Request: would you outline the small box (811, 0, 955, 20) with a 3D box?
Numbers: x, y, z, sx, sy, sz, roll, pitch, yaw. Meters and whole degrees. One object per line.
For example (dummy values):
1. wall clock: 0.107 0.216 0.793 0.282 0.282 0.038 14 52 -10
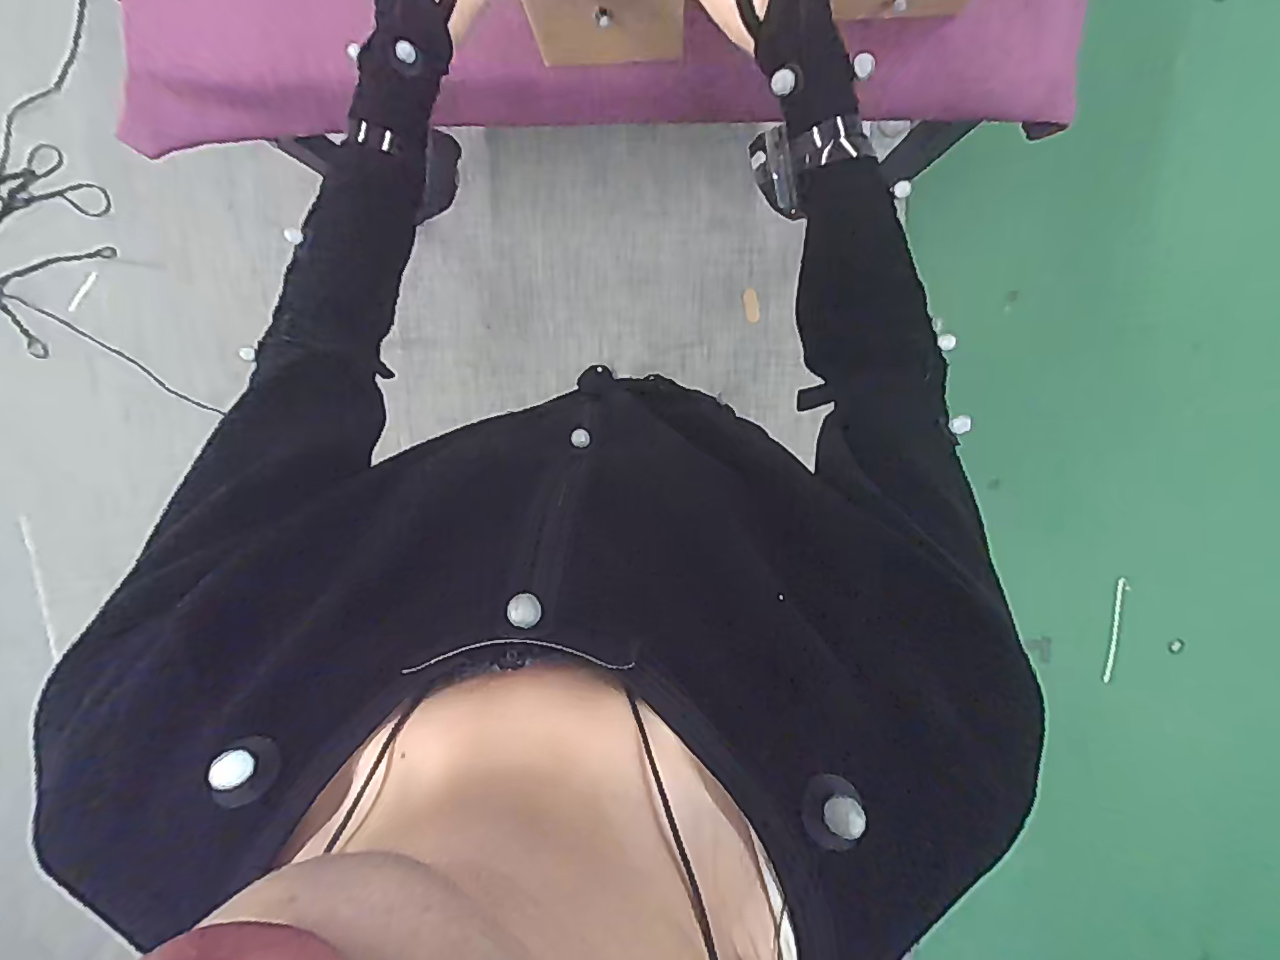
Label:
1. small box: 0.295 -0.635 0.574 0.179 0.176 0.168 0 97 2
